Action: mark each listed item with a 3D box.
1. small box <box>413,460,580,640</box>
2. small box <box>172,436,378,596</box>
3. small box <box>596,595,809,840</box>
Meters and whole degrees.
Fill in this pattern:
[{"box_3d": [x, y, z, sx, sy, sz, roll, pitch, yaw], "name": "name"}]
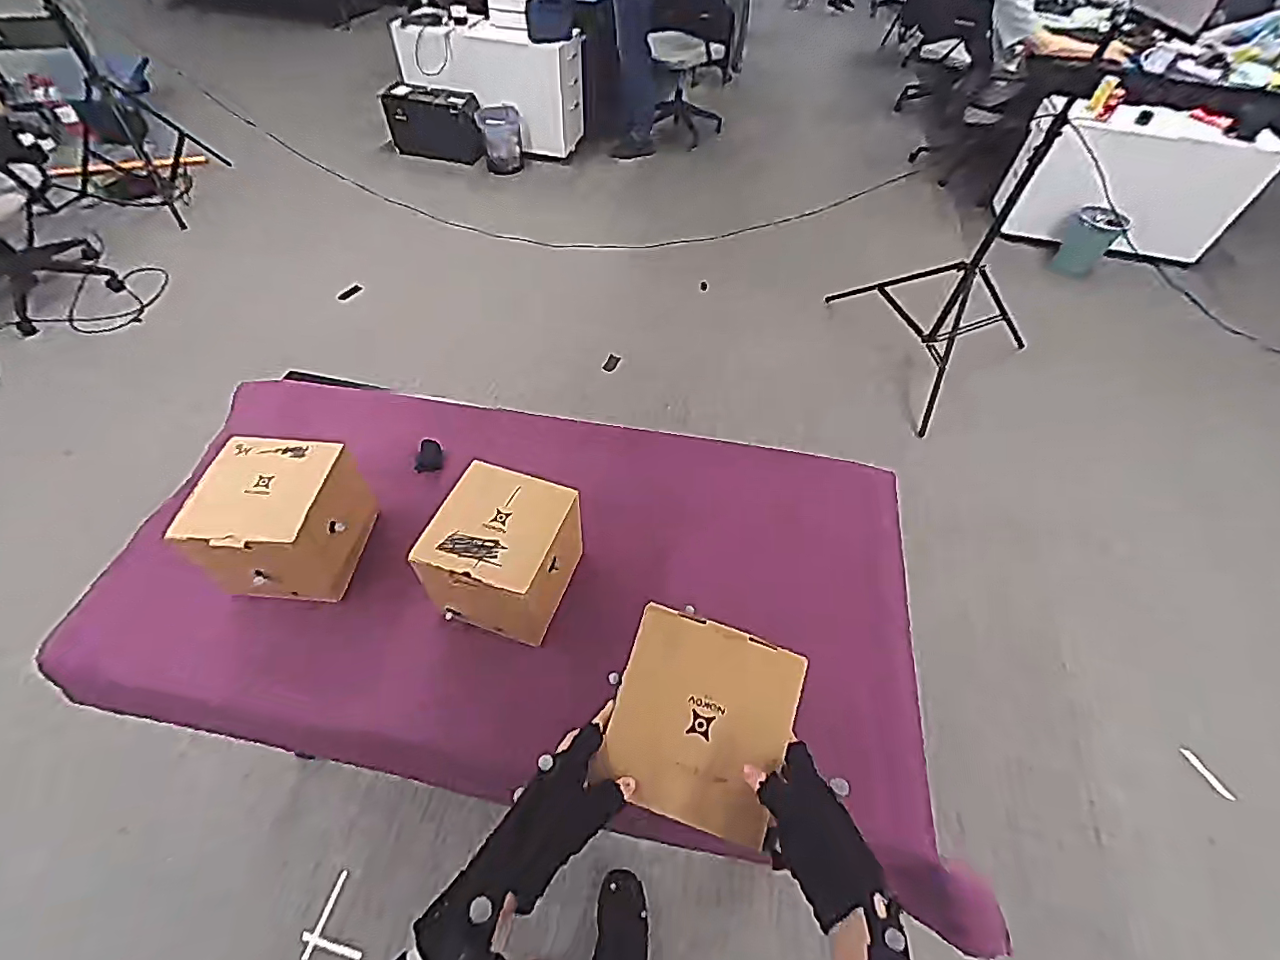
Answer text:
[{"box_3d": [-0.190, 0.106, 0.787, 0.168, 0.176, 0.179, 17, 52, 9], "name": "small box"}, {"box_3d": [-0.516, 0.058, 0.802, 0.168, 0.176, 0.179, 4, 52, -1], "name": "small box"}, {"box_3d": [0.062, 0.241, 0.588, 0.168, 0.176, 0.179, 18, 75, 6], "name": "small box"}]
